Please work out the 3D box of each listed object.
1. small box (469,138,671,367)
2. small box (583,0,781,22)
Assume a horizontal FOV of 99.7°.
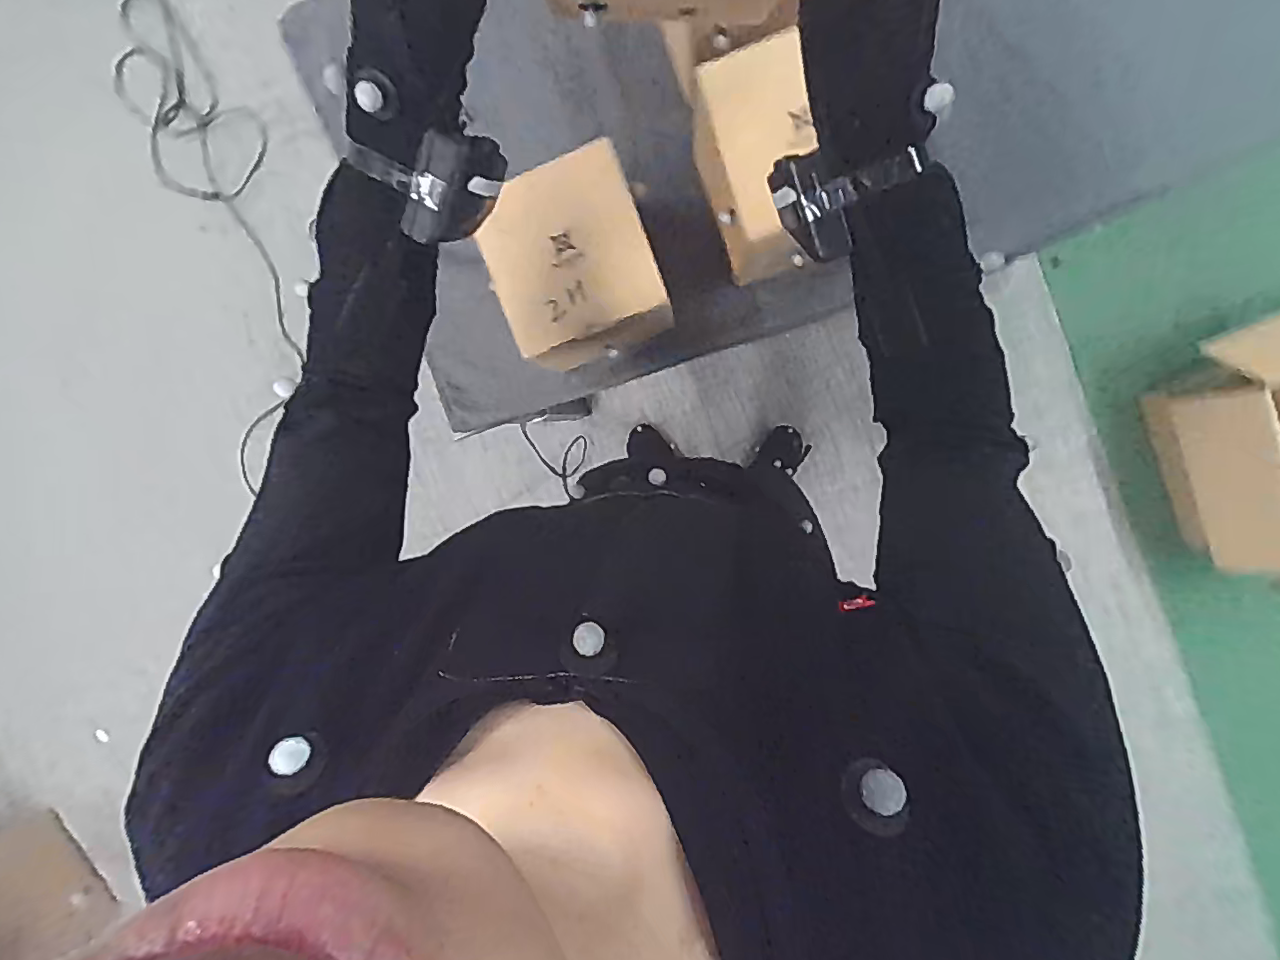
[{"bbox_3d":[-0.069,-0.248,0.638,0.168,0.176,0.179,-21,95,7],"label":"small box"},{"bbox_3d":[0.028,-0.403,0.313,0.168,0.176,0.179,0,111,-2],"label":"small box"}]
